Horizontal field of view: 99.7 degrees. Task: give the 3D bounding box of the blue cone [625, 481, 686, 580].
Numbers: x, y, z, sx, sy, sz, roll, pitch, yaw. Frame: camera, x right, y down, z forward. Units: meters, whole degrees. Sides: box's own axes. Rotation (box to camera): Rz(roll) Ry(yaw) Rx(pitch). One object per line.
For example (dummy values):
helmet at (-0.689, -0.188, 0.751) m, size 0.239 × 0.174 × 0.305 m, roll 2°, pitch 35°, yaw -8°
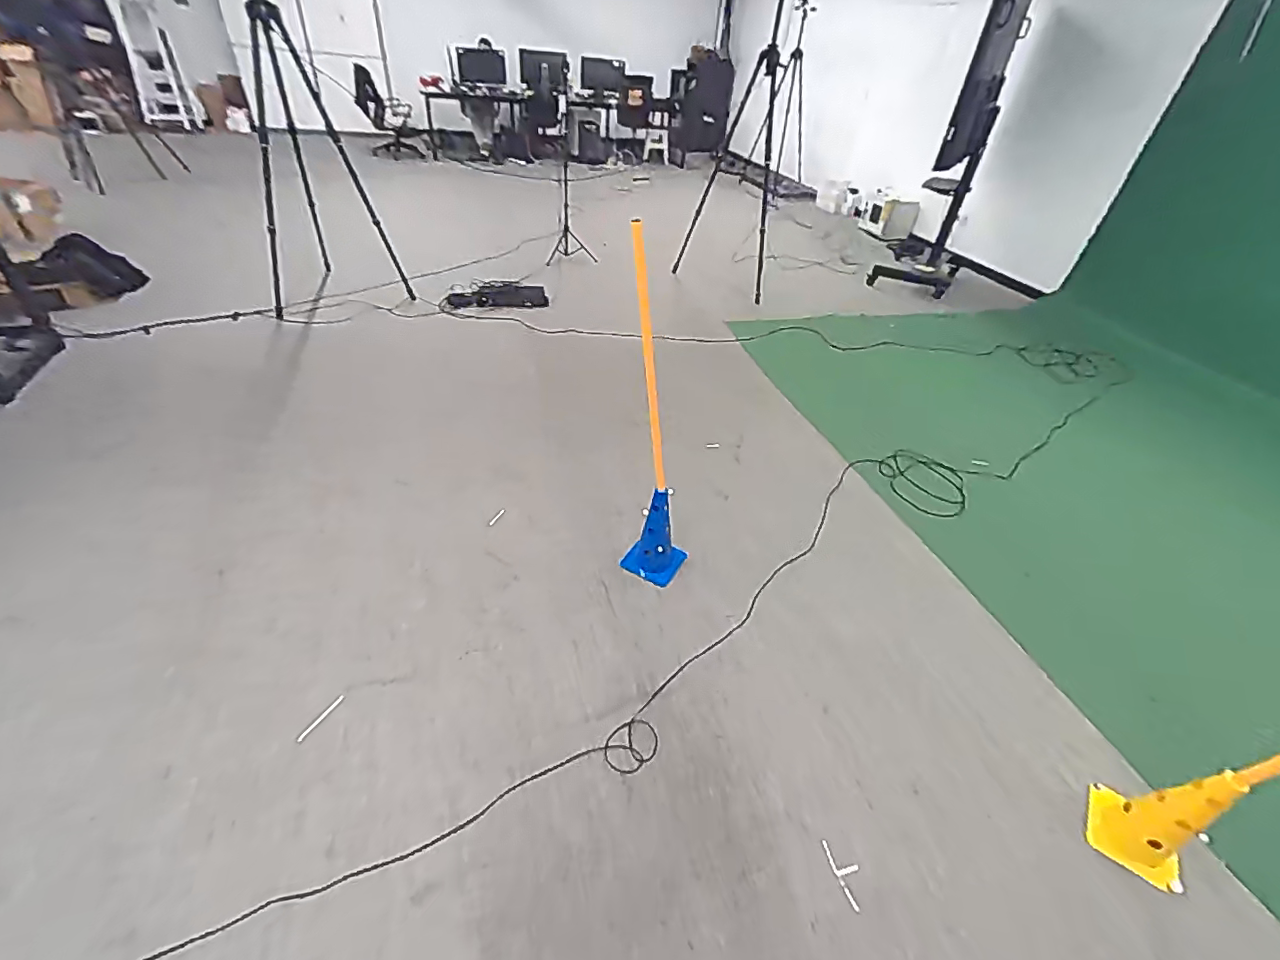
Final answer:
blue cone at (0.065, 0.160, 1.905) m, size 0.193 × 0.380 × 0.192 m, roll 21°, pitch 43°, yaw 20°
